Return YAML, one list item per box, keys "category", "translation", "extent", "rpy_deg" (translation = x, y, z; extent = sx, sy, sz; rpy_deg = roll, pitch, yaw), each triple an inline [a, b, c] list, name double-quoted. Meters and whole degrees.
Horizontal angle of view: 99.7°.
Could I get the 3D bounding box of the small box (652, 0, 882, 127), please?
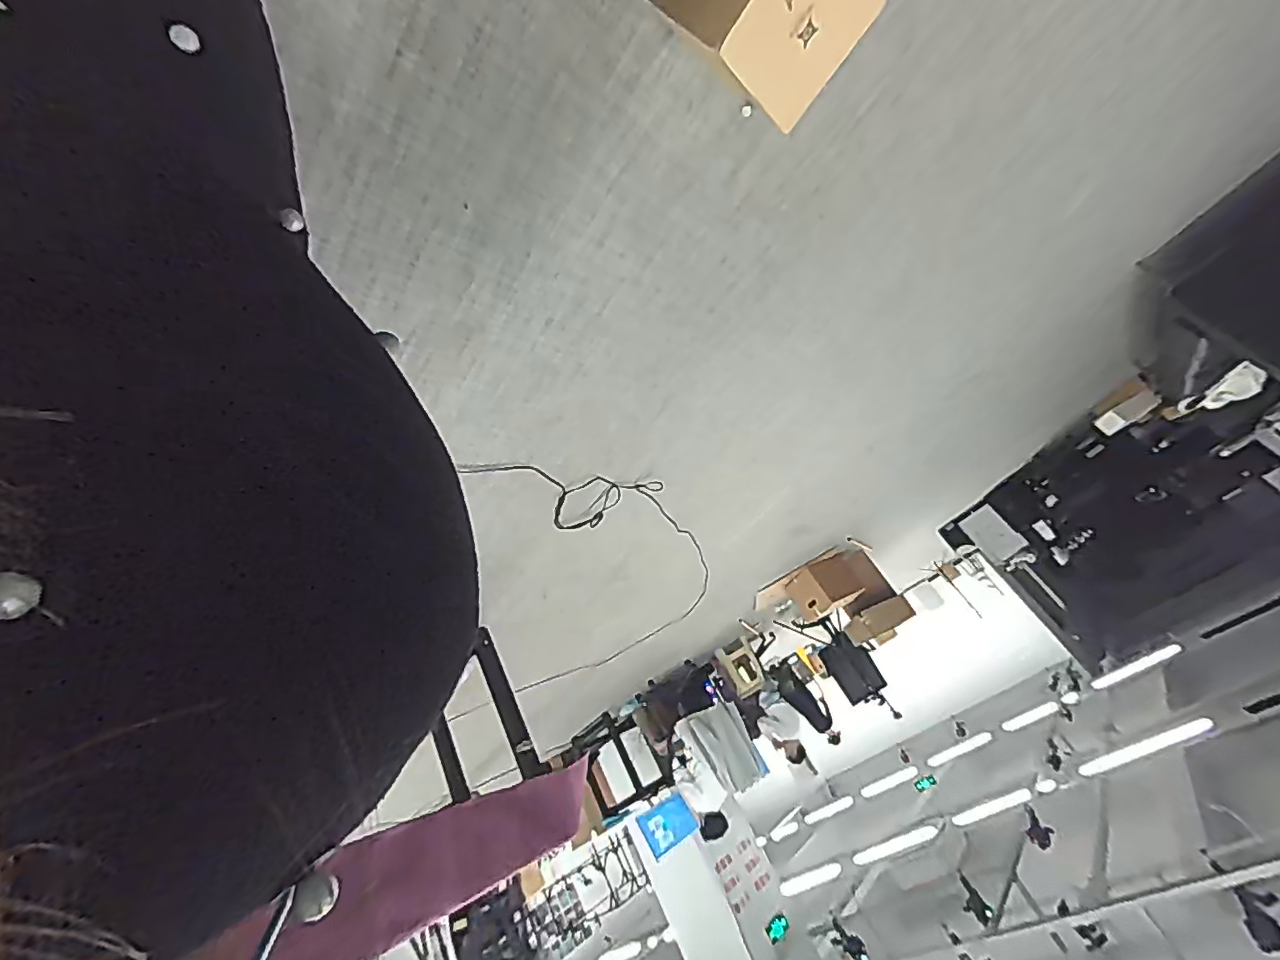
- category: "small box"
  translation: [0.145, -0.577, 0.640]
  extent: [0.179, 0.176, 0.168]
  rpy_deg: [4, 136, -49]
